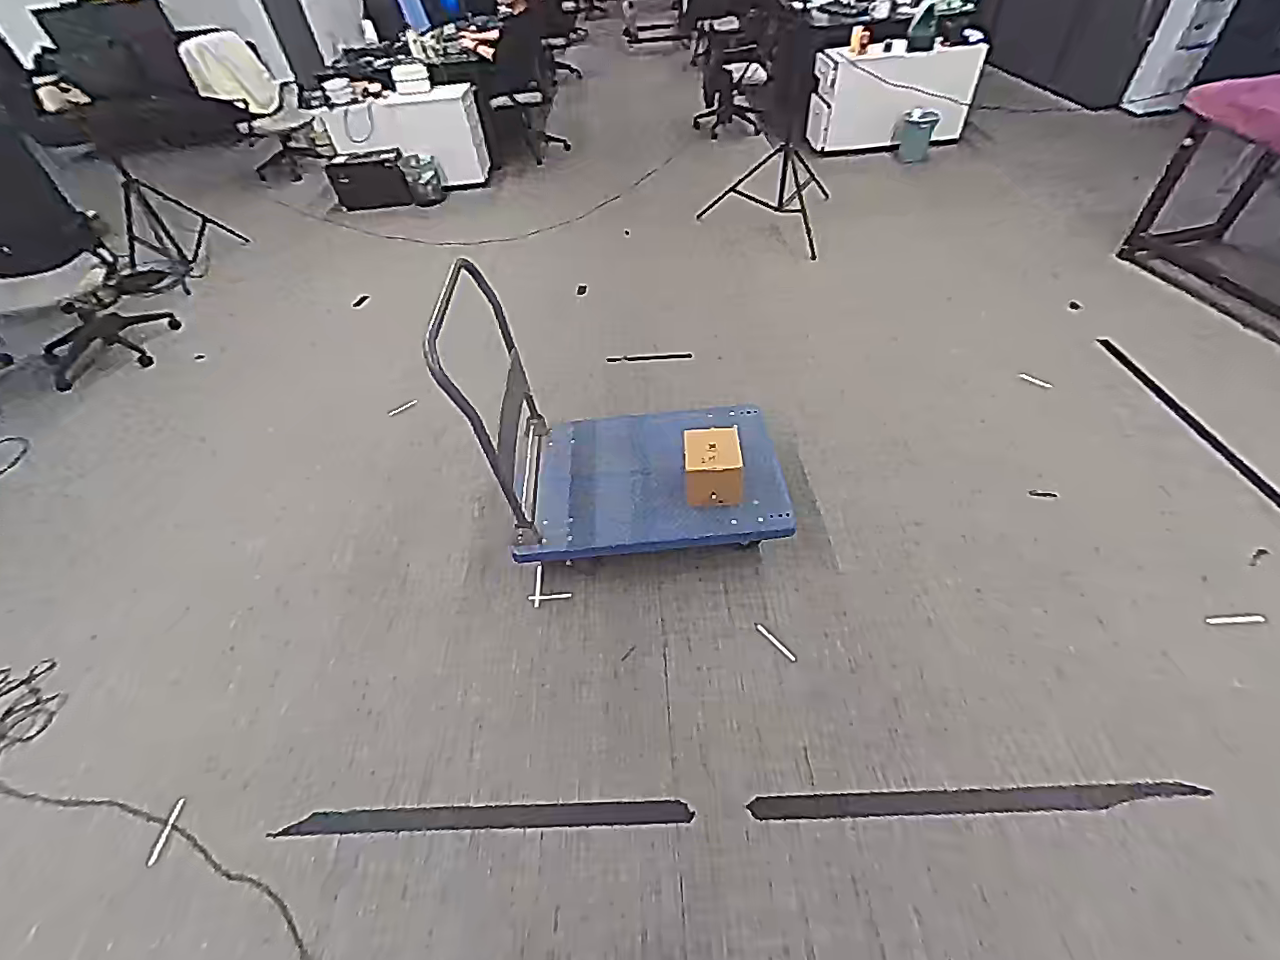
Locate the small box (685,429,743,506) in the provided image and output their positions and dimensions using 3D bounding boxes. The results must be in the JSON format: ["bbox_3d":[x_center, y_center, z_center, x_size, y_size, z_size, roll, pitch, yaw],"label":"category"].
[{"bbox_3d":[0.225,-0.038,1.675,0.168,0.176,0.179,-3,47,4],"label":"small box"}]
